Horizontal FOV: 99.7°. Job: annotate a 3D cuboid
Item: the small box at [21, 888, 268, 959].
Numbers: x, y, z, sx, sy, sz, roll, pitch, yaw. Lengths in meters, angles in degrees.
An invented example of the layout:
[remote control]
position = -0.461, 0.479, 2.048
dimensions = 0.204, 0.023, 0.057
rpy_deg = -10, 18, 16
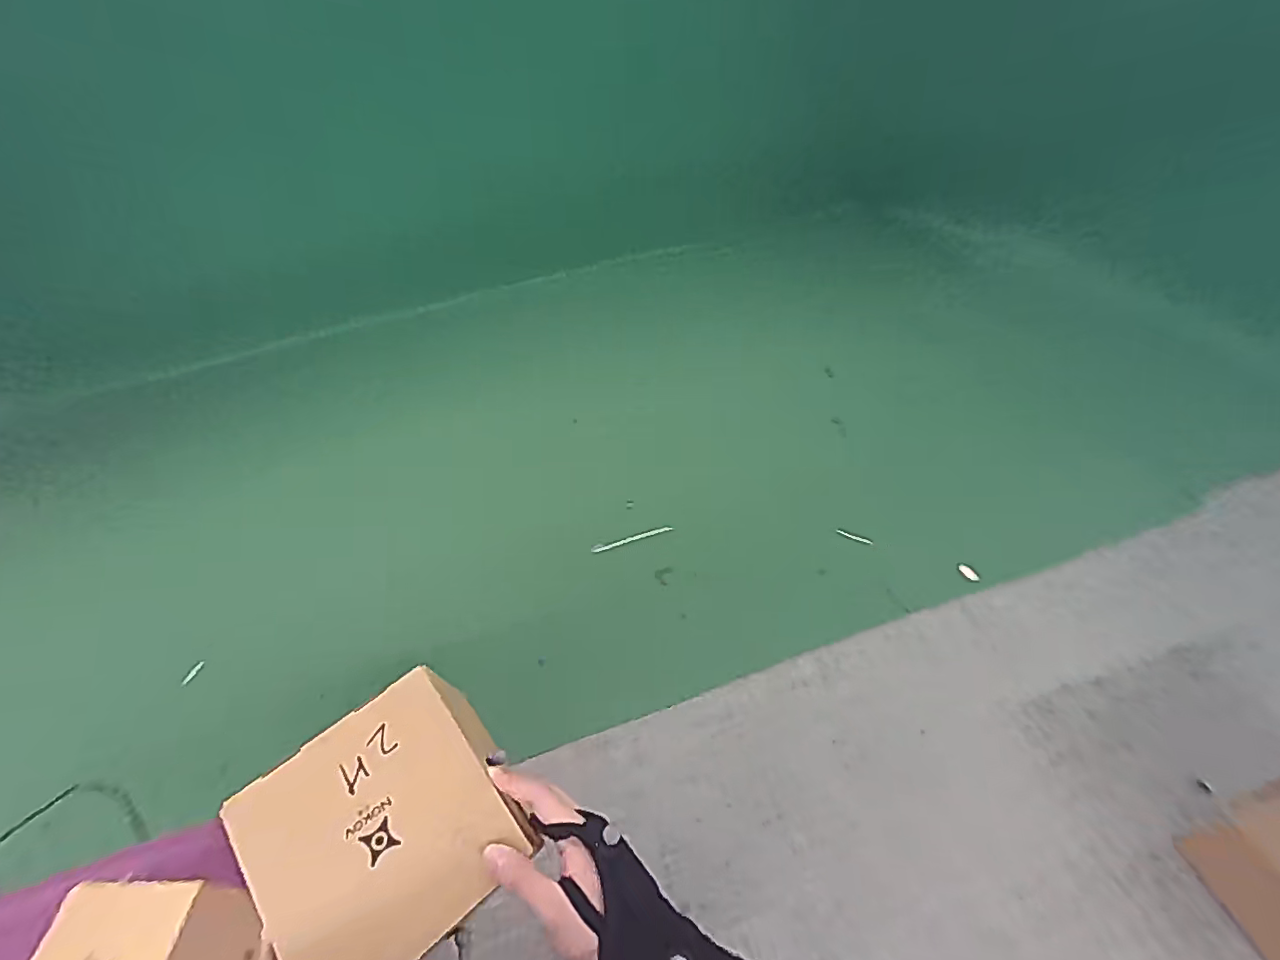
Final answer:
[small box]
position = -0.605, 0.603, 0.652
dimensions = 0.179, 0.176, 0.168
rpy_deg = -6, 47, 6
